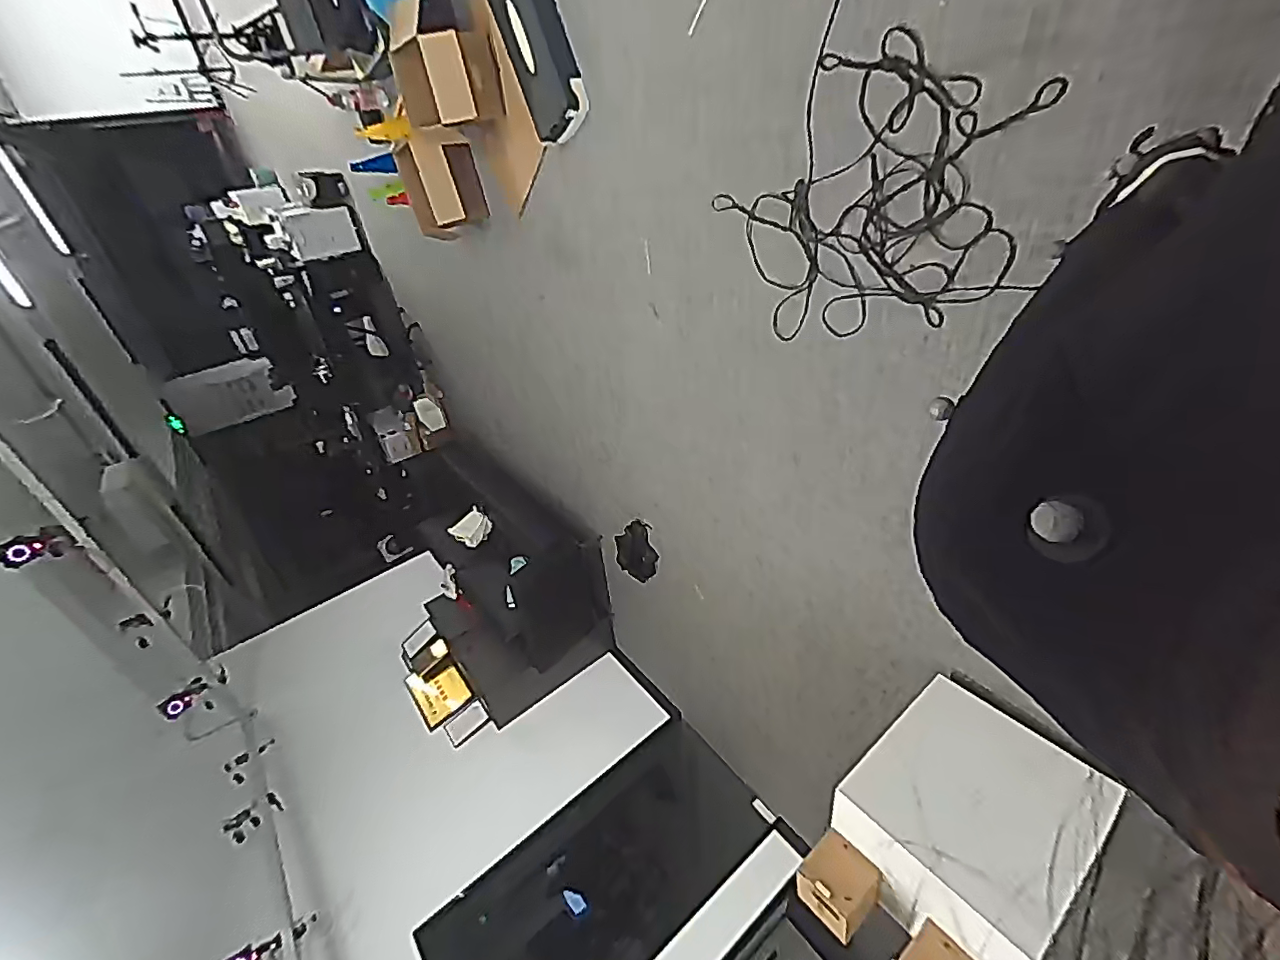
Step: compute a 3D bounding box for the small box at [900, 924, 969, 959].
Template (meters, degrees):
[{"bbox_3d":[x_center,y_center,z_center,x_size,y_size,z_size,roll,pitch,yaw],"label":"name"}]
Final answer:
[{"bbox_3d":[0.752,1.290,1.367,0.168,0.176,0.179,31,138,46],"label":"small box"}]
